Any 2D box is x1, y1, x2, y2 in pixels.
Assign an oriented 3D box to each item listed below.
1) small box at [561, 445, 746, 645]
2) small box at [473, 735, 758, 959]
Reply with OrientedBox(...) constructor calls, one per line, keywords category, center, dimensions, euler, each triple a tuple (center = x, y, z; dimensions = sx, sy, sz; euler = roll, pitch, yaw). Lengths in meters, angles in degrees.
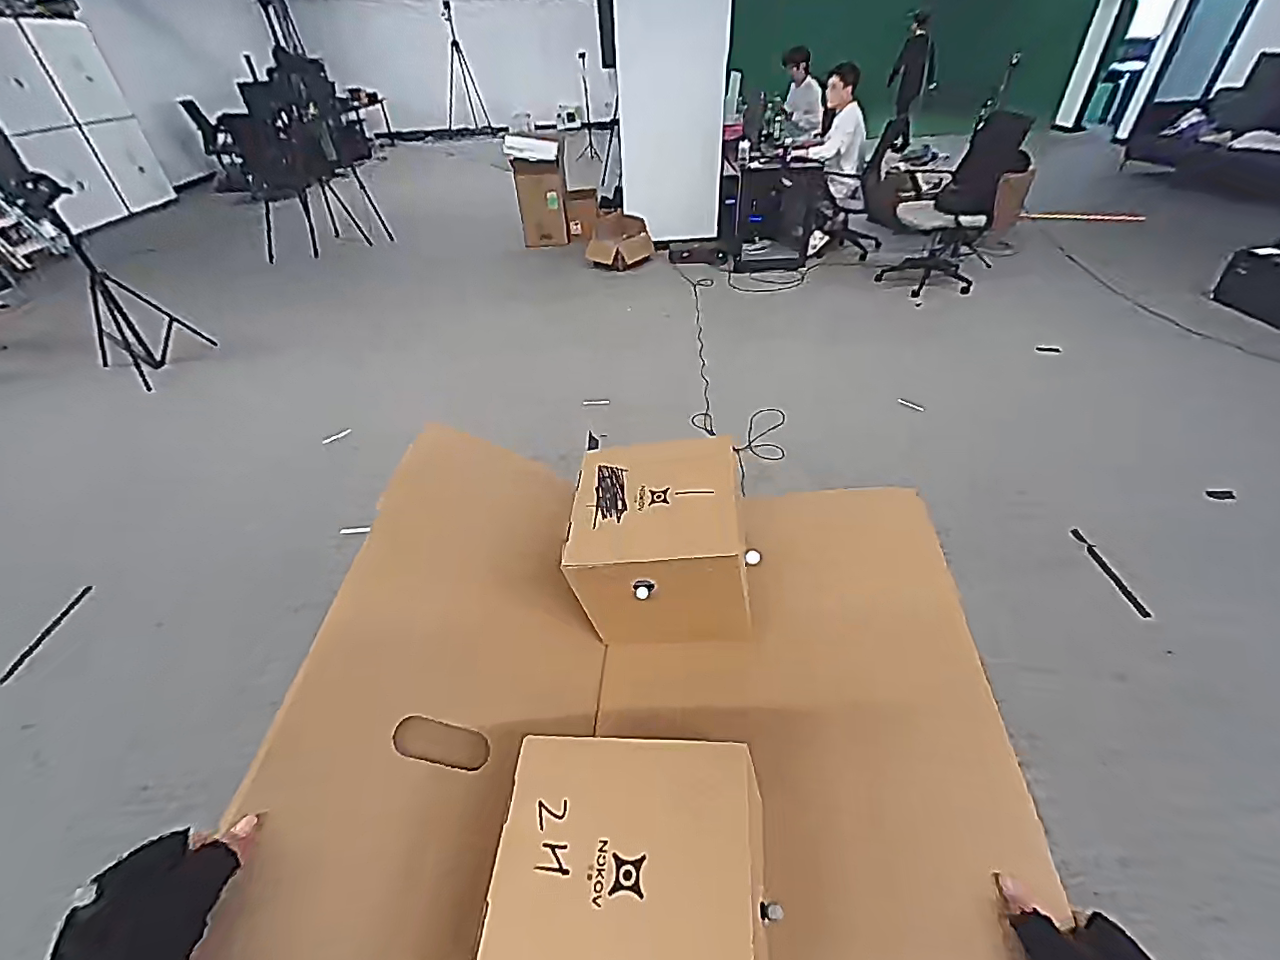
OrientedBox(category="small box", center=(0.027, 0.082, 0.636), dimensions=(0.179, 0.176, 0.168), euler=(-5, 46, 12))
OrientedBox(category="small box", center=(0.000, 0.315, 0.419), dimensions=(0.179, 0.176, 0.168), euler=(-4, 46, 14))
